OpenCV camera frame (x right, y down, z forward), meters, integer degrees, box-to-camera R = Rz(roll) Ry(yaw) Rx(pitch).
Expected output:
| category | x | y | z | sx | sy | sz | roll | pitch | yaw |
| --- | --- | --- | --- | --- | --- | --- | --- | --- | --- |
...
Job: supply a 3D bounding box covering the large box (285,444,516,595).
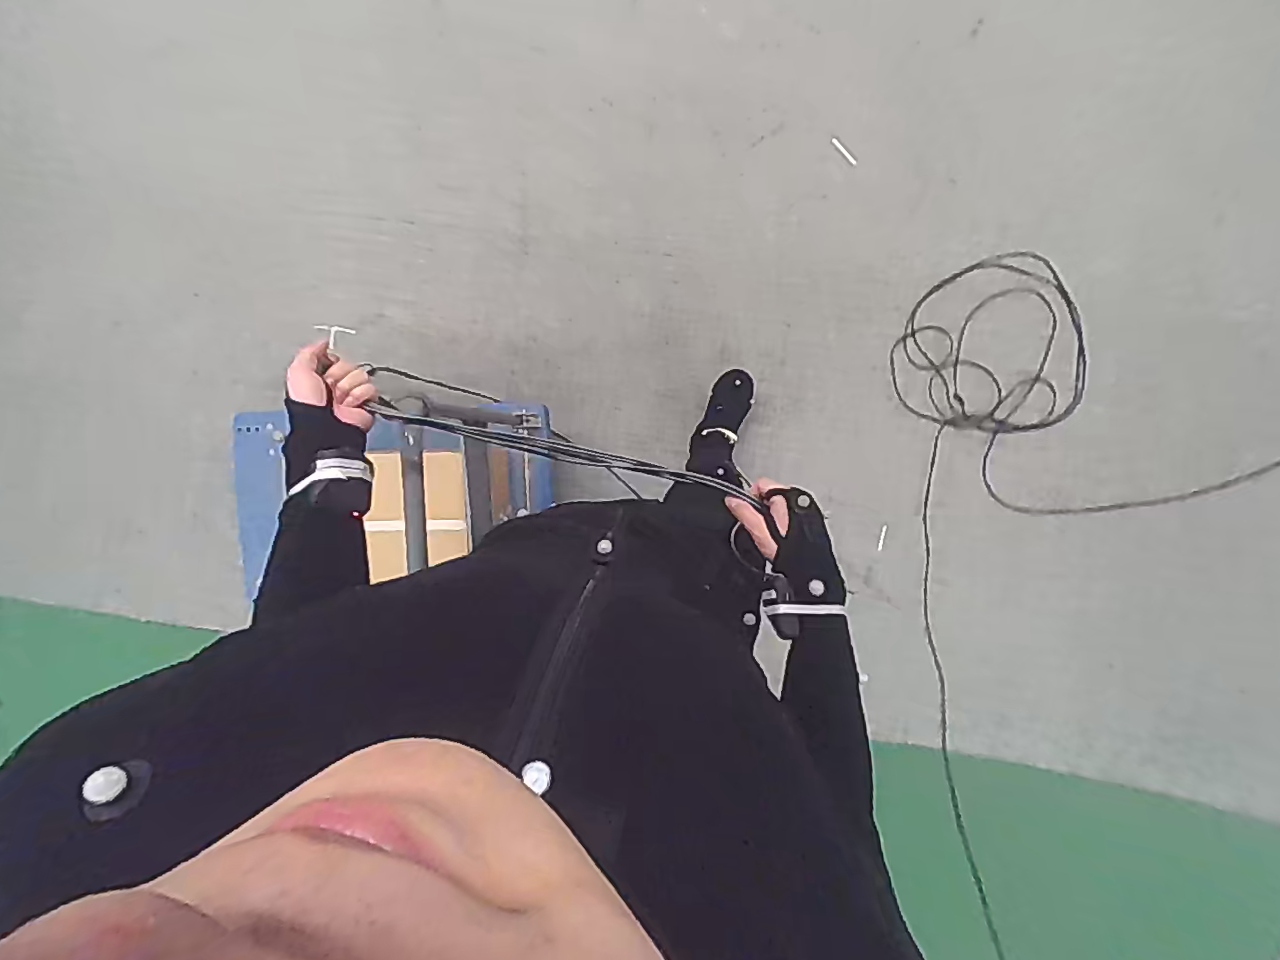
| category | x | y | z | sx | sy | sz | roll | pitch | yaw |
| --- | --- | --- | --- | --- | --- | --- | --- | --- | --- |
| large box | -0.545 | 0.079 | 1.302 | 0.408 | 0.320 | 0.320 | -1 | 94 | 5 |
